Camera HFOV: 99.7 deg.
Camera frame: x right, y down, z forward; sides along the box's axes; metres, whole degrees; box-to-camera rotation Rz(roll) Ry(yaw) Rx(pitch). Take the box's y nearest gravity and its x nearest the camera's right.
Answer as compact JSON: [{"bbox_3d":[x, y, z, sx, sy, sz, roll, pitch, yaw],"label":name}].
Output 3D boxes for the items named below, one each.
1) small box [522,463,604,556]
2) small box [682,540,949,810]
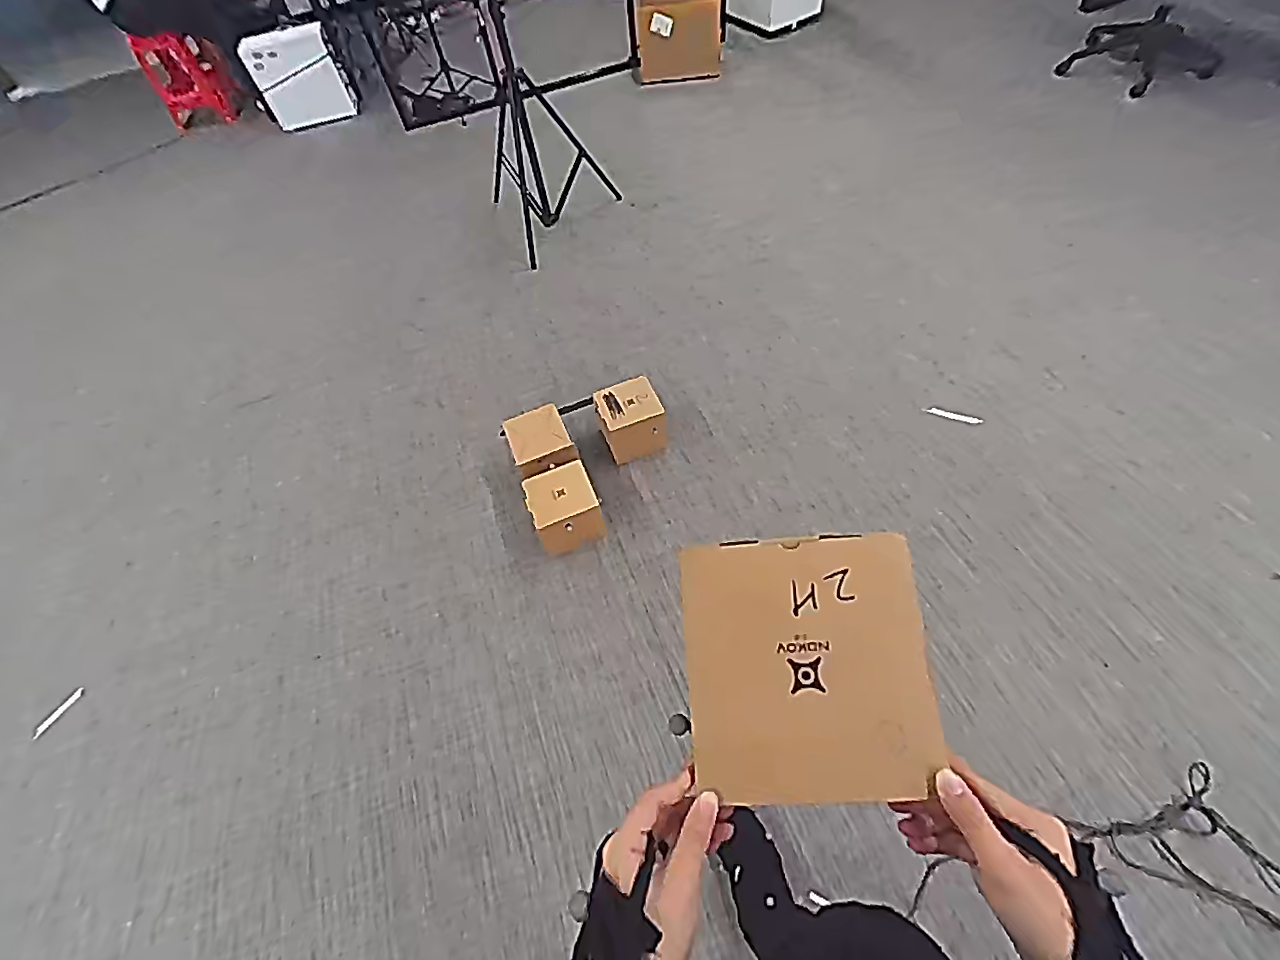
[{"bbox_3d":[-0.208,0.085,1.510,0.179,0.176,0.168,-21,57,-7],"label":"small box"},{"bbox_3d":[0.124,0.154,0.454,0.168,0.176,0.179,-4,73,4],"label":"small box"}]
